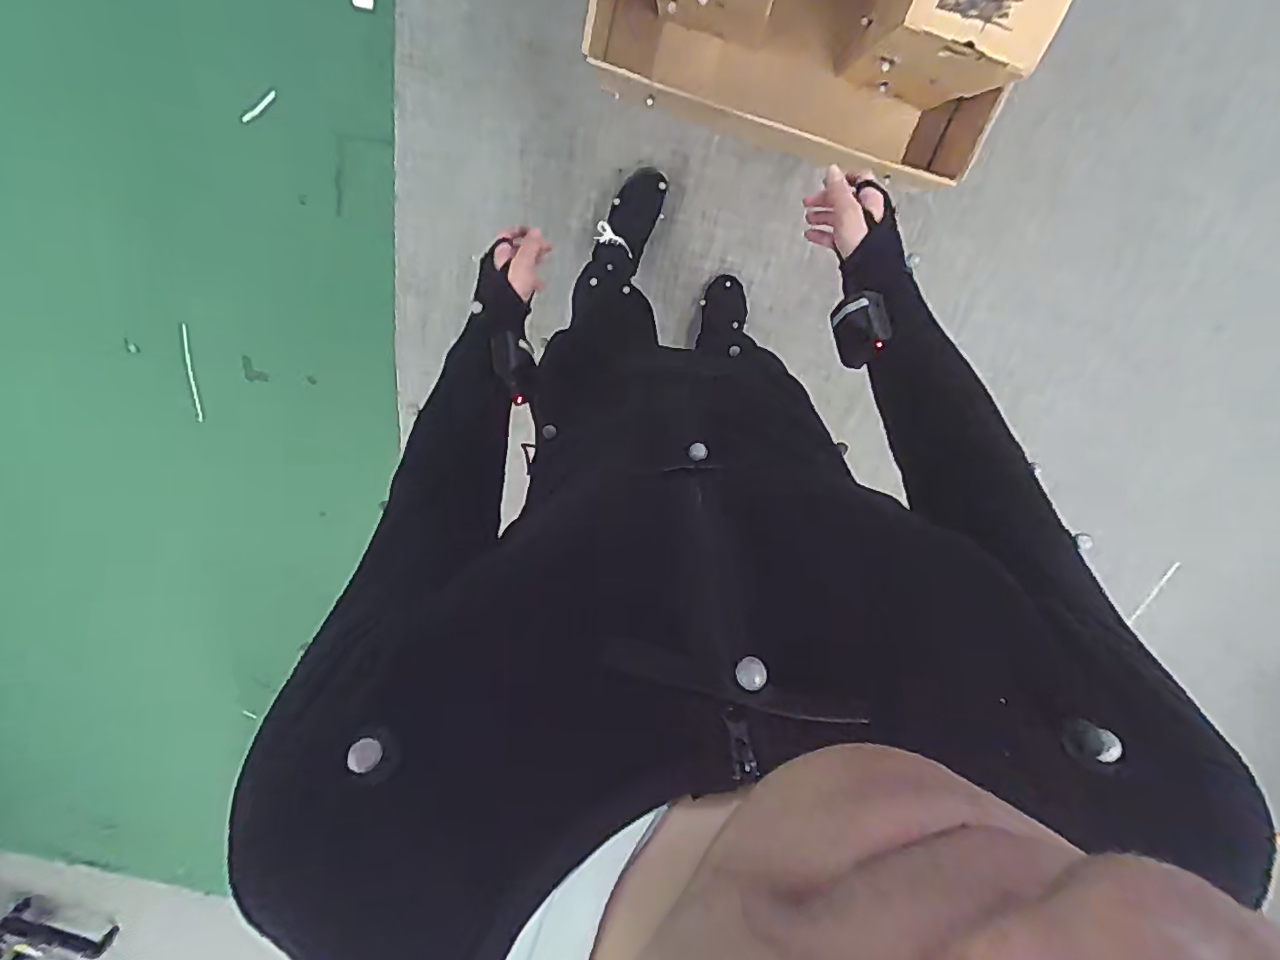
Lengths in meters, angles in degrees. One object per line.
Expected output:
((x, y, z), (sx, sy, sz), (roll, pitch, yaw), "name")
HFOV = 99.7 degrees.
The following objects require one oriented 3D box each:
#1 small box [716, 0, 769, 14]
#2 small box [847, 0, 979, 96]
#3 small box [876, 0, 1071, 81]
((0.109, -0.686, 0.616), (0.168, 0.176, 0.179), (18, 118, -3), "small box")
((0.421, -0.684, 0.773), (0.168, 0.176, 0.179), (16, 119, -3), "small box")
((0.402, -0.601, 0.632), (0.168, 0.176, 0.179), (17, 118, -4), "small box")
